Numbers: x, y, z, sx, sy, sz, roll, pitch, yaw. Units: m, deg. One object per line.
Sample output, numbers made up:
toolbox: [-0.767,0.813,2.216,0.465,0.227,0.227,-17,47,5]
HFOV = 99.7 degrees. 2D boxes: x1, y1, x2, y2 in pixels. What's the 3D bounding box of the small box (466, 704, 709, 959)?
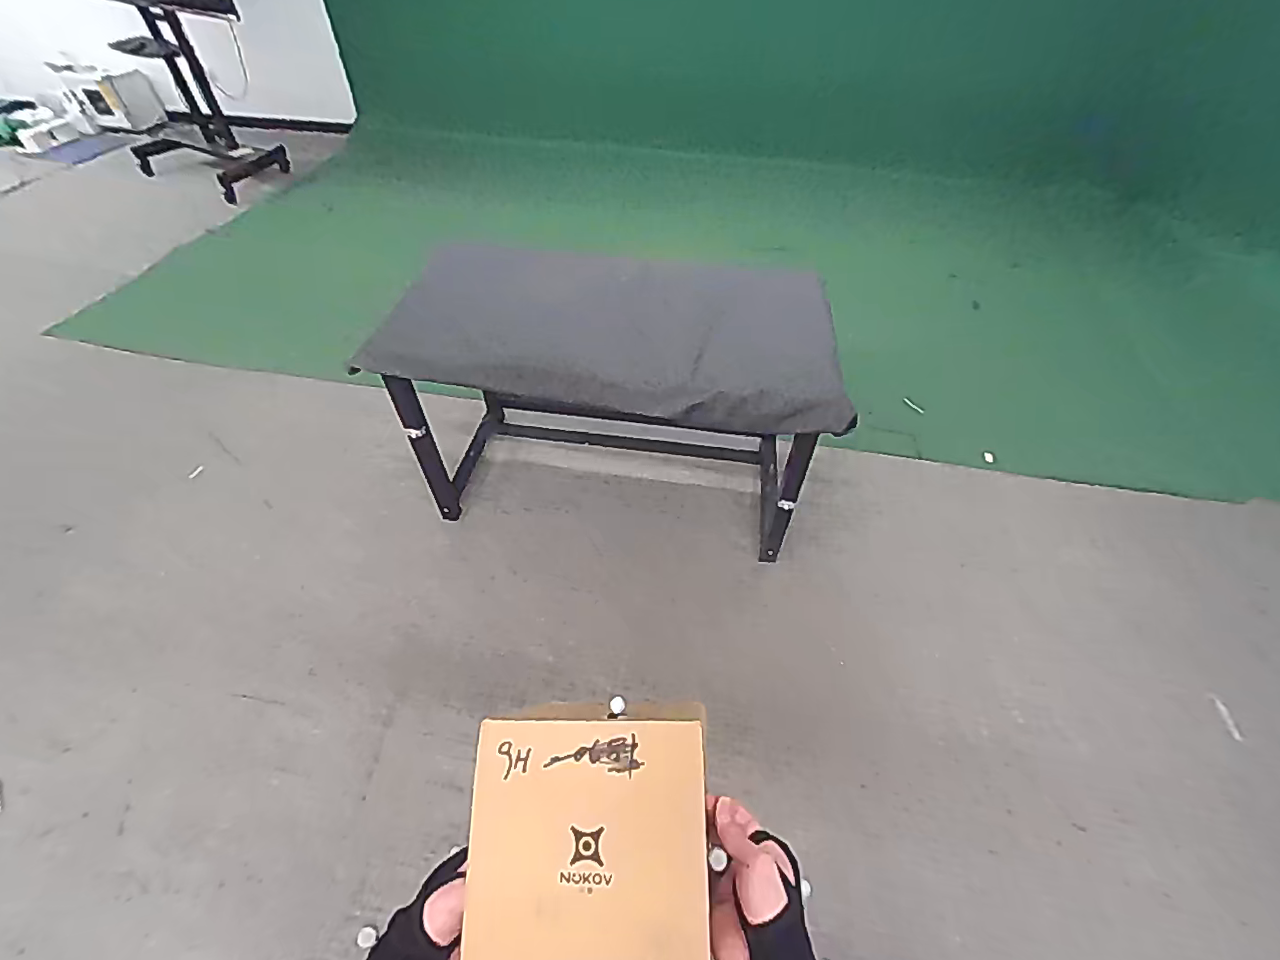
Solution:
small box: [-0.027,0.291,0.449,0.168,0.176,0.179,-2,72,5]
